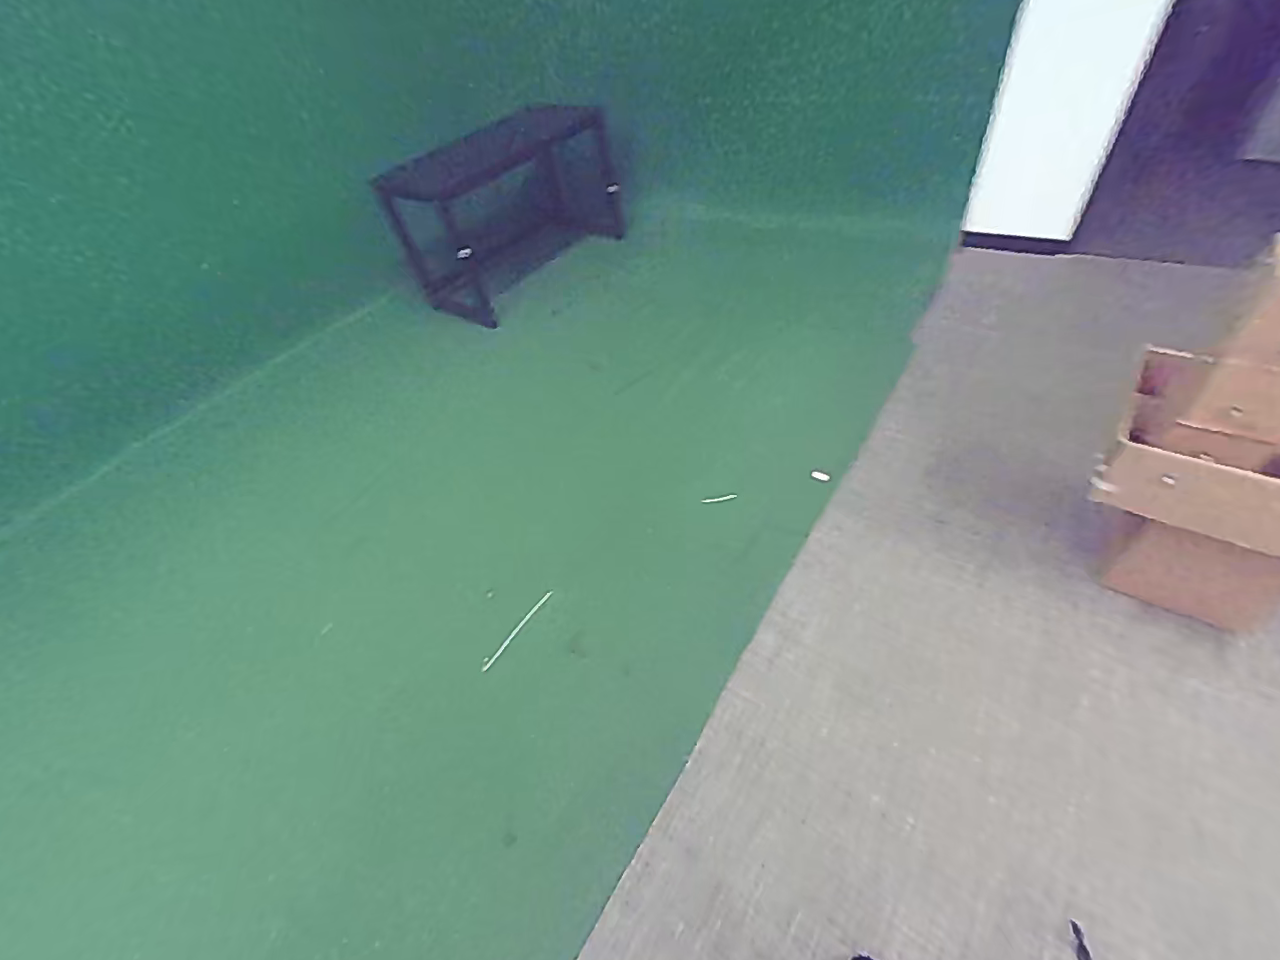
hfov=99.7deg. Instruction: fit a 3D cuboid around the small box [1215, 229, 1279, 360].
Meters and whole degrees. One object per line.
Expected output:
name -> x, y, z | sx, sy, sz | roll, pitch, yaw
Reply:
small box -> 1.211, -0.328, 0.977 | 0.179, 0.176, 0.168 | 24, 57, 30
